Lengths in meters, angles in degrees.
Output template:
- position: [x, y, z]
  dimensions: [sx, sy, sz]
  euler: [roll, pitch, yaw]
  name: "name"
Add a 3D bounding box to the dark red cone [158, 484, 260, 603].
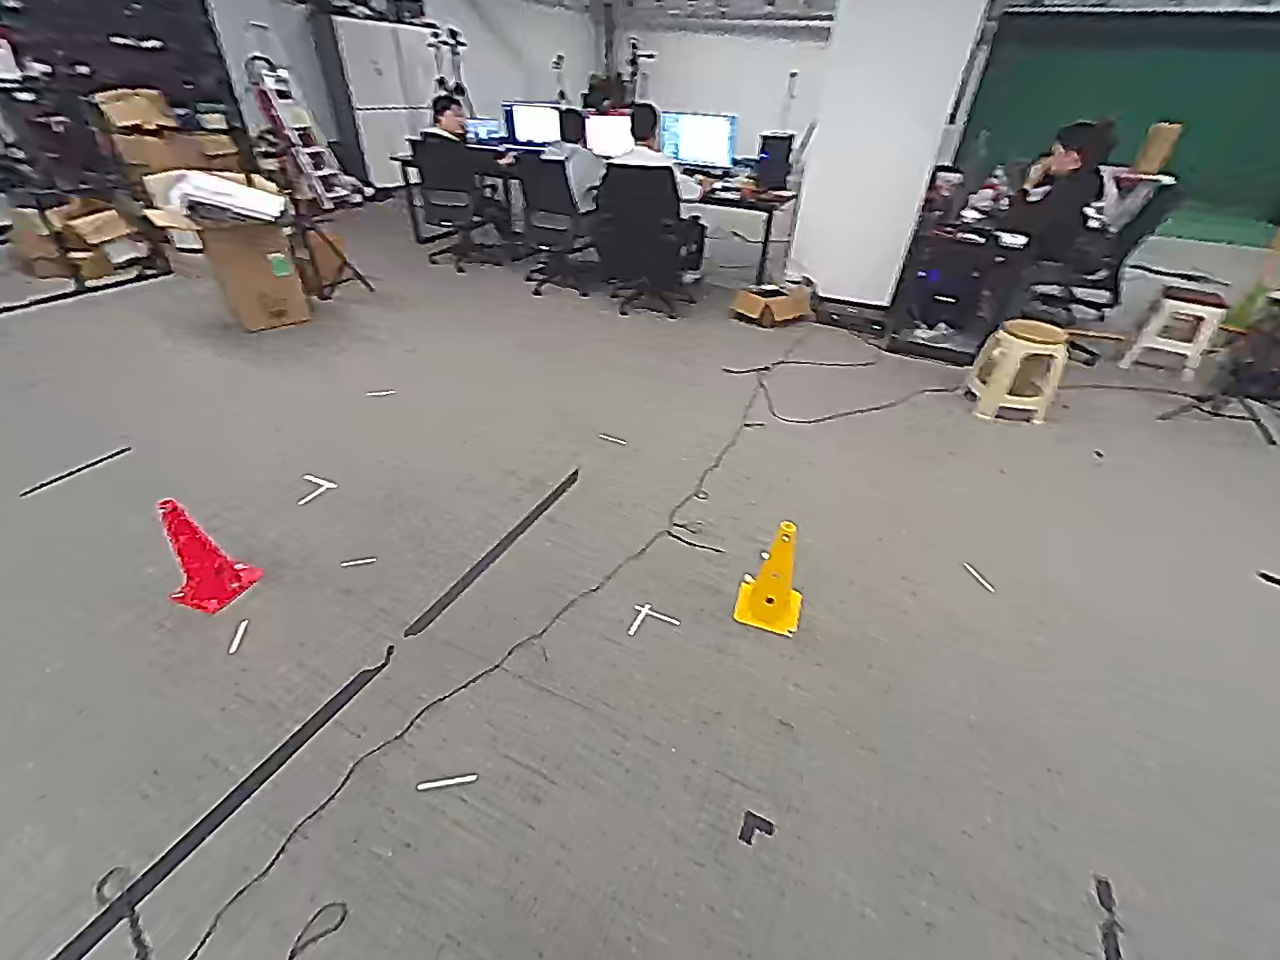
- position: [-1.391, 0.180, 1.682]
  dimensions: [0.201, 0.394, 0.202]
  euler: [14, 38, 14]
  name: "dark red cone"
